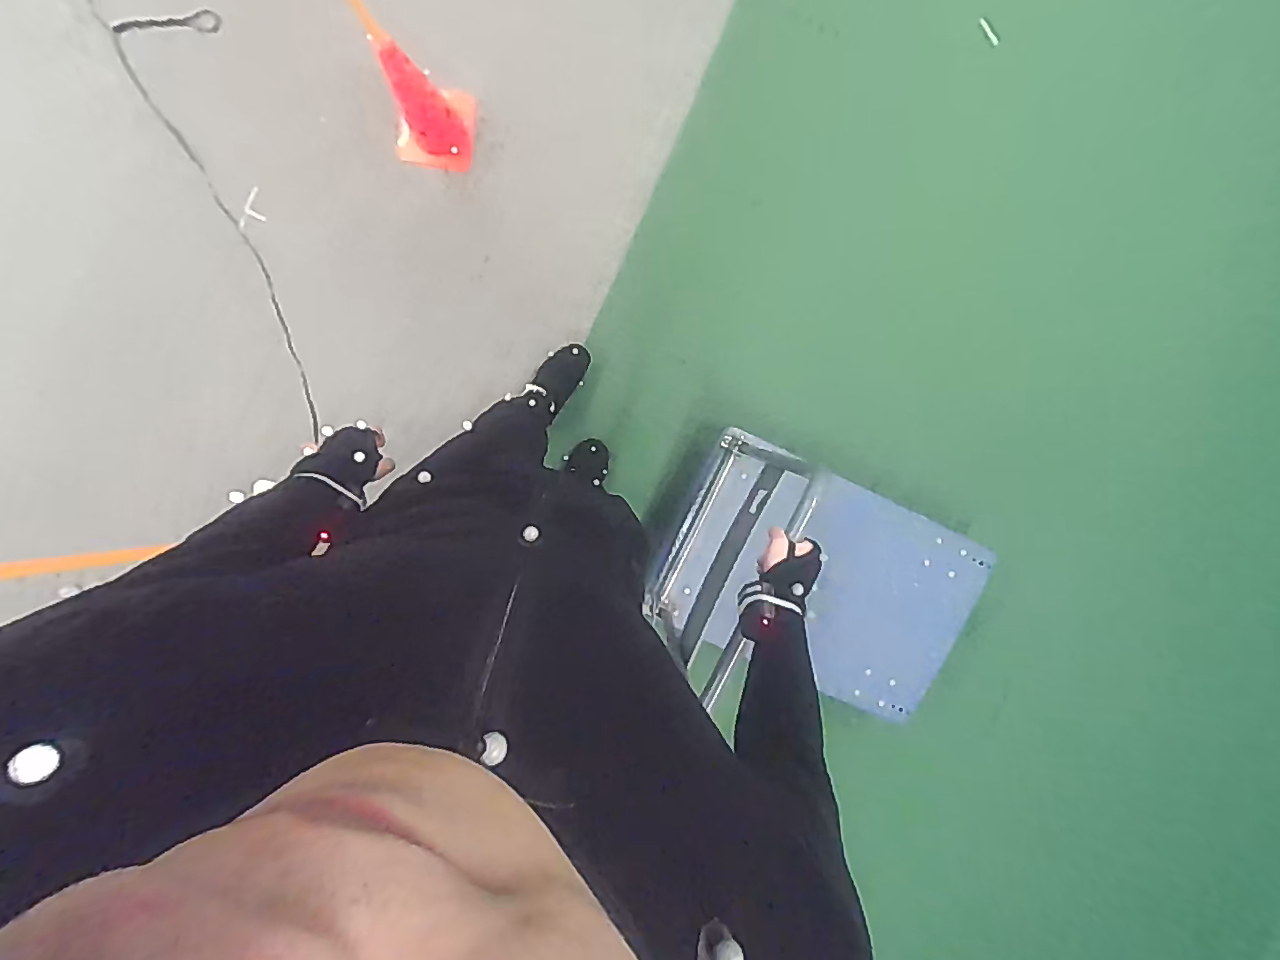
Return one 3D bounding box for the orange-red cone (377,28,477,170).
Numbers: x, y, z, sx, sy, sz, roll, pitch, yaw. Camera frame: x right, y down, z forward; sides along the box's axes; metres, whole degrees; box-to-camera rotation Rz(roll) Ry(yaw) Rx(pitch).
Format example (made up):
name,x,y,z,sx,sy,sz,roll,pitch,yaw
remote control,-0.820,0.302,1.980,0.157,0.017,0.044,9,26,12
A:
name,x,y,z,sx,sy,sz,roll,pitch,yaw
orange-red cone,-0.542,-0.945,1.300,0.198,0.360,0.199,10,95,-4
